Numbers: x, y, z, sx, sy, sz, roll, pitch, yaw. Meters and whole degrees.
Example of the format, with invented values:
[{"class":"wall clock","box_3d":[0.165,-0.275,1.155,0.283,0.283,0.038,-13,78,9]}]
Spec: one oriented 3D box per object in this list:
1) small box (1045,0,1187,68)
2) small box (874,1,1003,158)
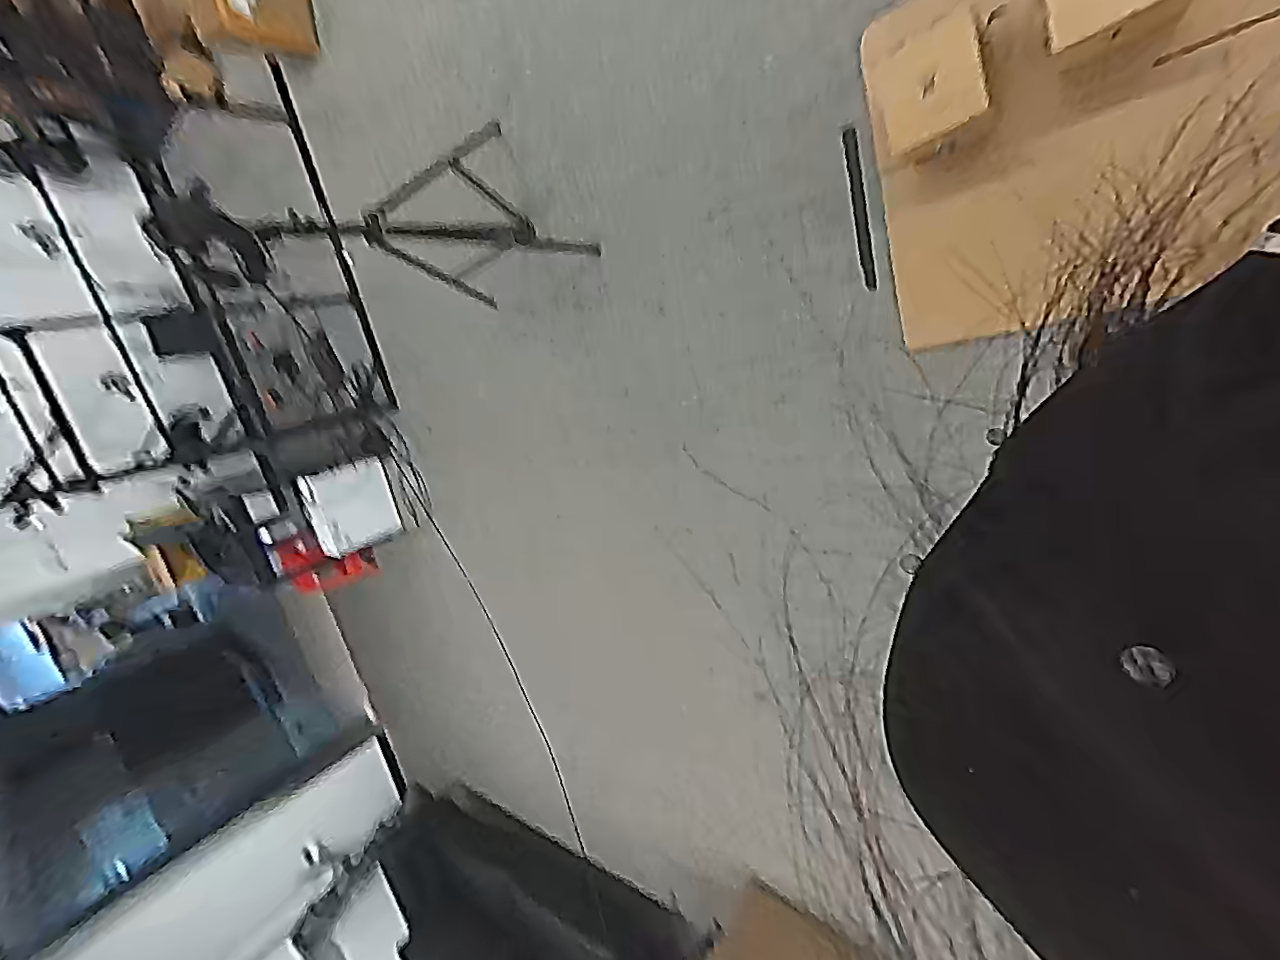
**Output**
[{"class":"small box","box_3d":[0.757,-0.805,0.860,0.179,0.176,0.168,-9,104,42]},{"class":"small box","box_3d":[0.576,-0.750,1.039,0.168,0.176,0.179,-11,103,44]}]
